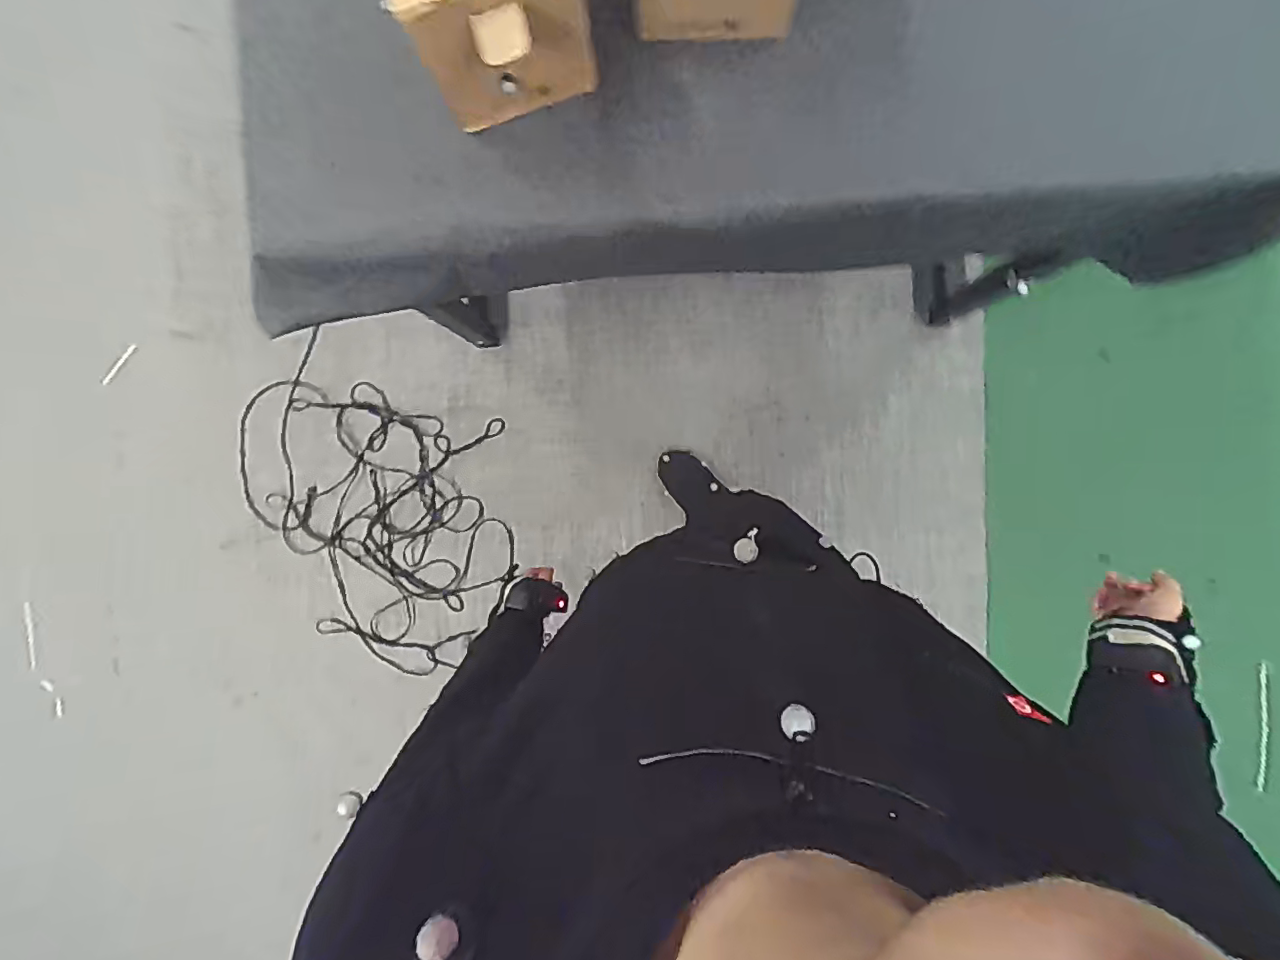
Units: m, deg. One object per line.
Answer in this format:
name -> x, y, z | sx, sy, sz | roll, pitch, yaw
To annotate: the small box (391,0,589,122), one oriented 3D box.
small box -> -0.160, -0.512, 0.540 | 0.168, 0.176, 0.179 | -18, 91, 3
